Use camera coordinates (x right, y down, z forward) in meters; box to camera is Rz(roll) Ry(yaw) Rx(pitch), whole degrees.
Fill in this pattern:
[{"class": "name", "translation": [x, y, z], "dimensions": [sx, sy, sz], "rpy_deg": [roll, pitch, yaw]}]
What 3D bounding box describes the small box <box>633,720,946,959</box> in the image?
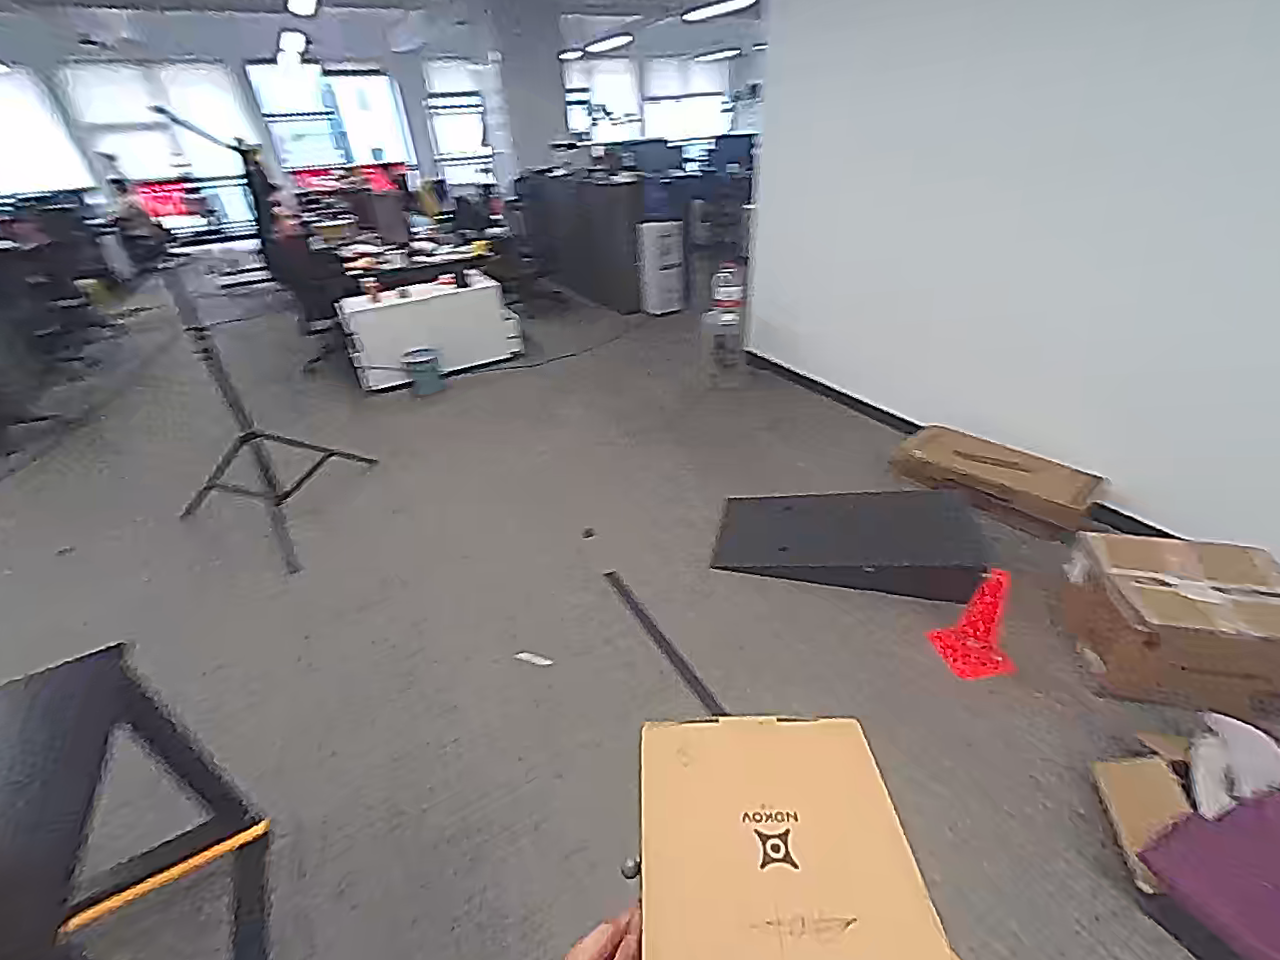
[{"class": "small box", "translation": [0.079, 0.294, 0.370], "dimensions": [0.168, 0.176, 0.179], "rpy_deg": [-1, 30, 0]}]
